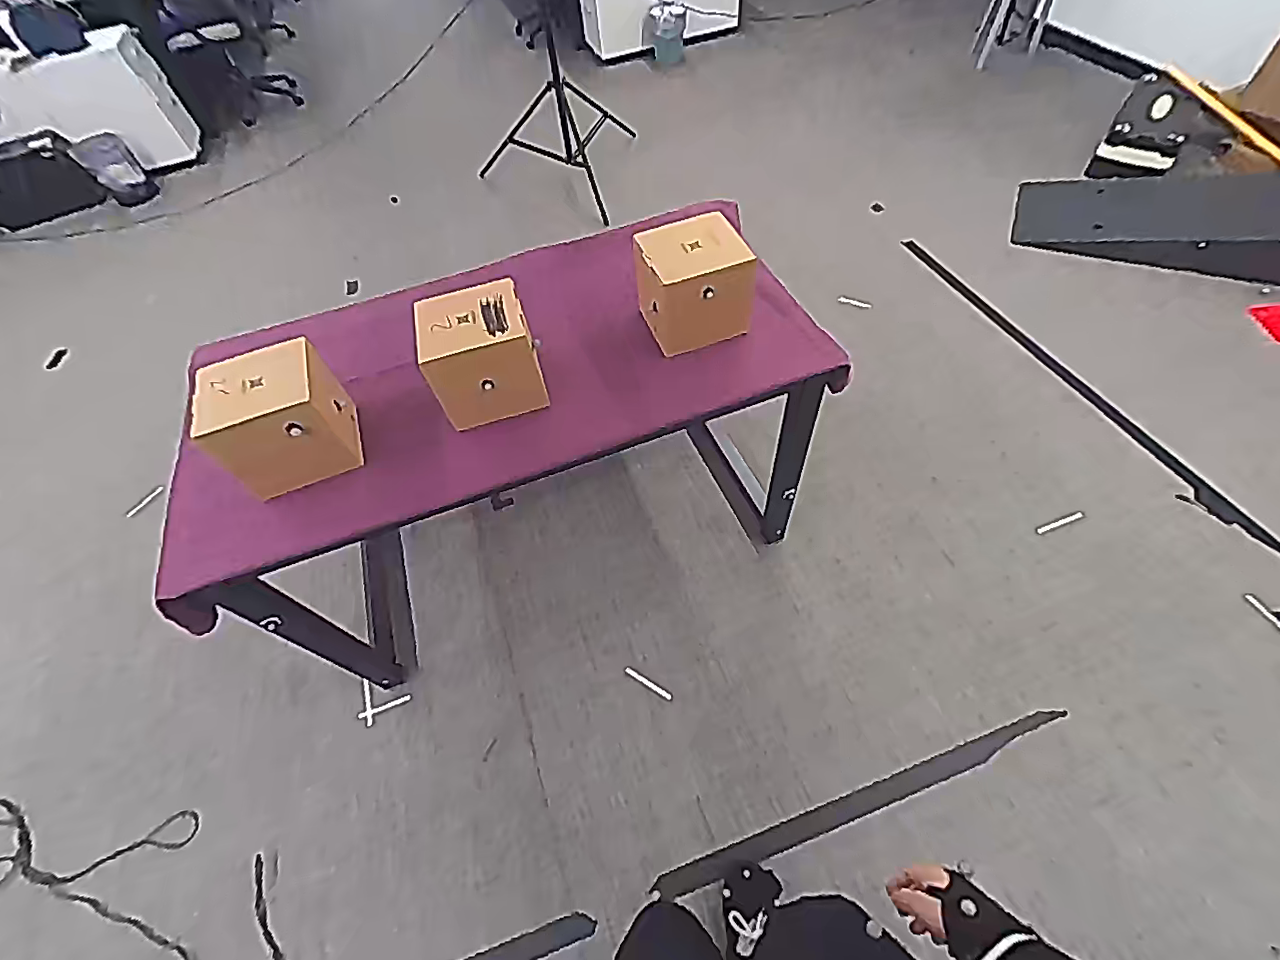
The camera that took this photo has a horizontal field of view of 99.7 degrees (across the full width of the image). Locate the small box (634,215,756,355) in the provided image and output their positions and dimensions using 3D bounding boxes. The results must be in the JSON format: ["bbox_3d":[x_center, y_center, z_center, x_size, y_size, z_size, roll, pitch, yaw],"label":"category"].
[{"bbox_3d":[0.101,-0.363,1.023,0.179,0.176,0.168,-18,56,-7],"label":"small box"}]

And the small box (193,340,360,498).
[{"bbox_3d":[-0.595,-0.099,0.910,0.179,0.176,0.168,-22,55,-9],"label":"small box"}]
